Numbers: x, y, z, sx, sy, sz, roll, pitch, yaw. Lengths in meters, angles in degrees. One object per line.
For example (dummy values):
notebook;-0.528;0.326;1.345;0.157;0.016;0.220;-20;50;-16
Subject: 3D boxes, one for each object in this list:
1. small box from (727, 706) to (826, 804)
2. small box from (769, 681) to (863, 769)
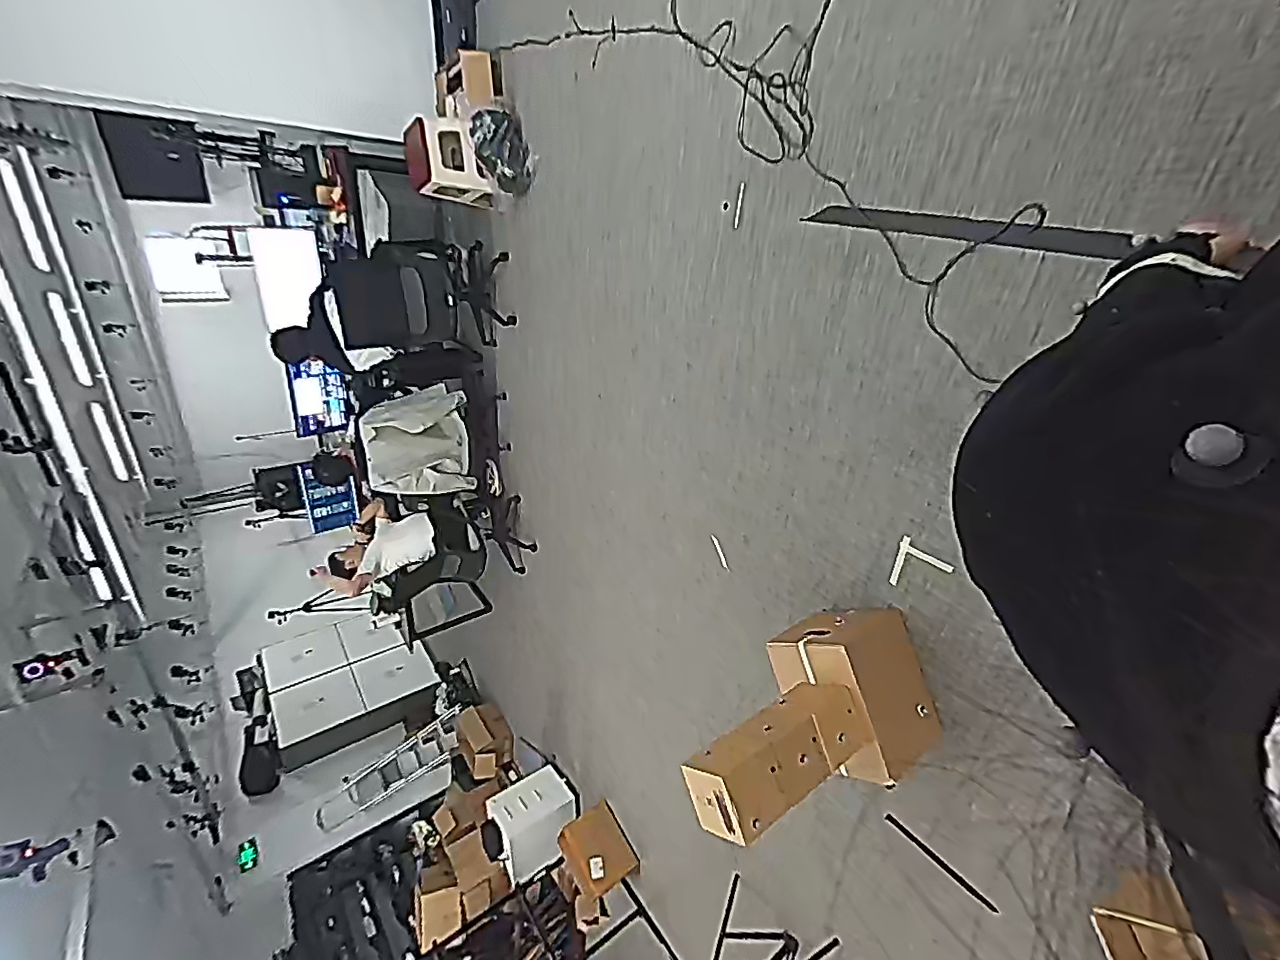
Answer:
small box;0.373;0.728;1.454;0.179;0.176;0.168;-24;82;54
small box;0.506;0.688;1.541;0.179;0.176;0.168;-25;82;55
